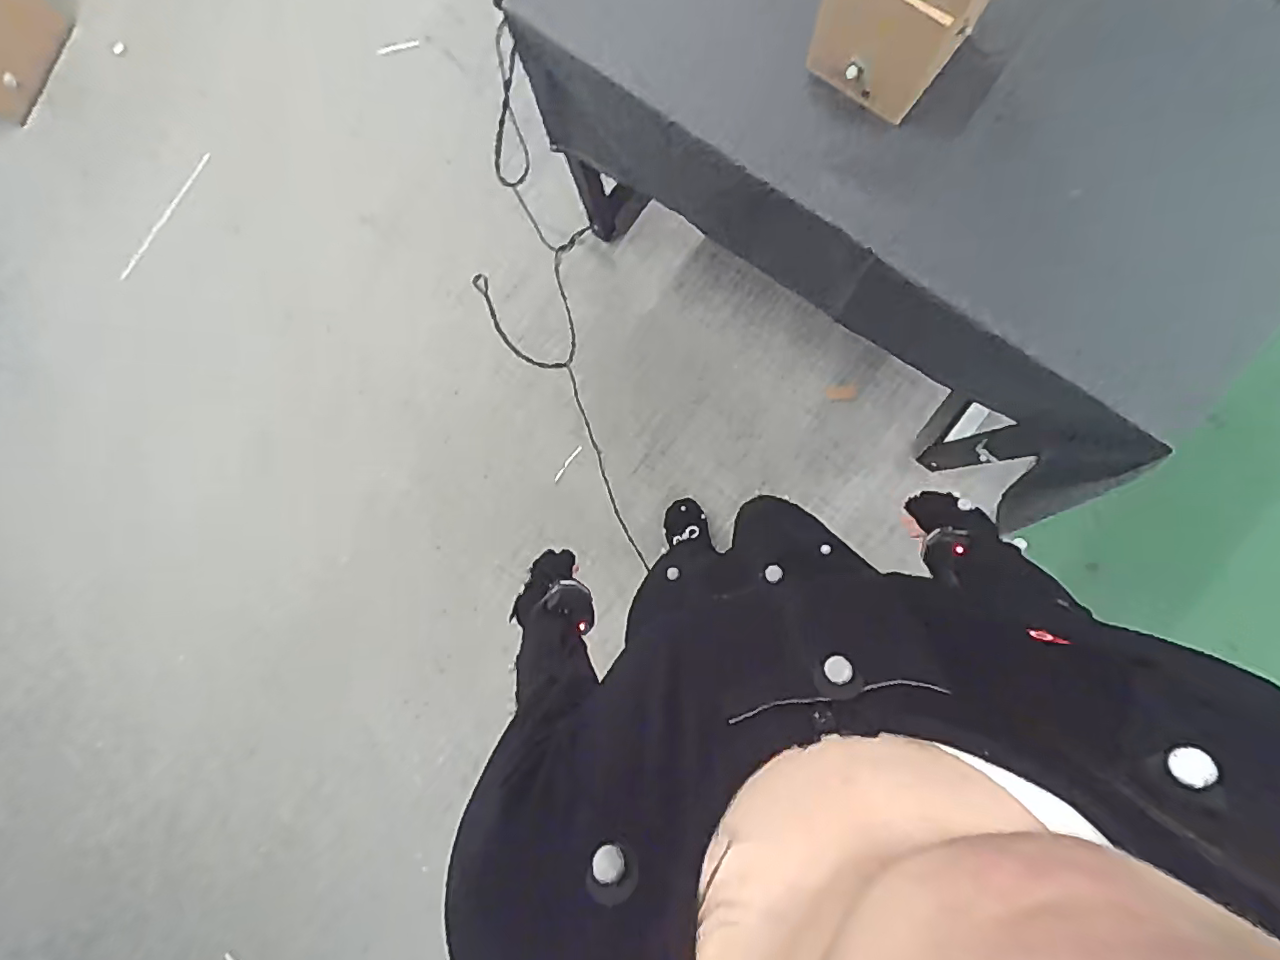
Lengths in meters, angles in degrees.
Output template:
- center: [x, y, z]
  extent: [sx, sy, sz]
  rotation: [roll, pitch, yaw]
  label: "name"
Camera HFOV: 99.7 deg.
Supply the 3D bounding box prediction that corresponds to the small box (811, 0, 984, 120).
- center: [0.350, -0.636, 0.712]
  extent: [0.168, 0.176, 0.179]
  rotation: [38, 91, 7]
  label: "small box"
